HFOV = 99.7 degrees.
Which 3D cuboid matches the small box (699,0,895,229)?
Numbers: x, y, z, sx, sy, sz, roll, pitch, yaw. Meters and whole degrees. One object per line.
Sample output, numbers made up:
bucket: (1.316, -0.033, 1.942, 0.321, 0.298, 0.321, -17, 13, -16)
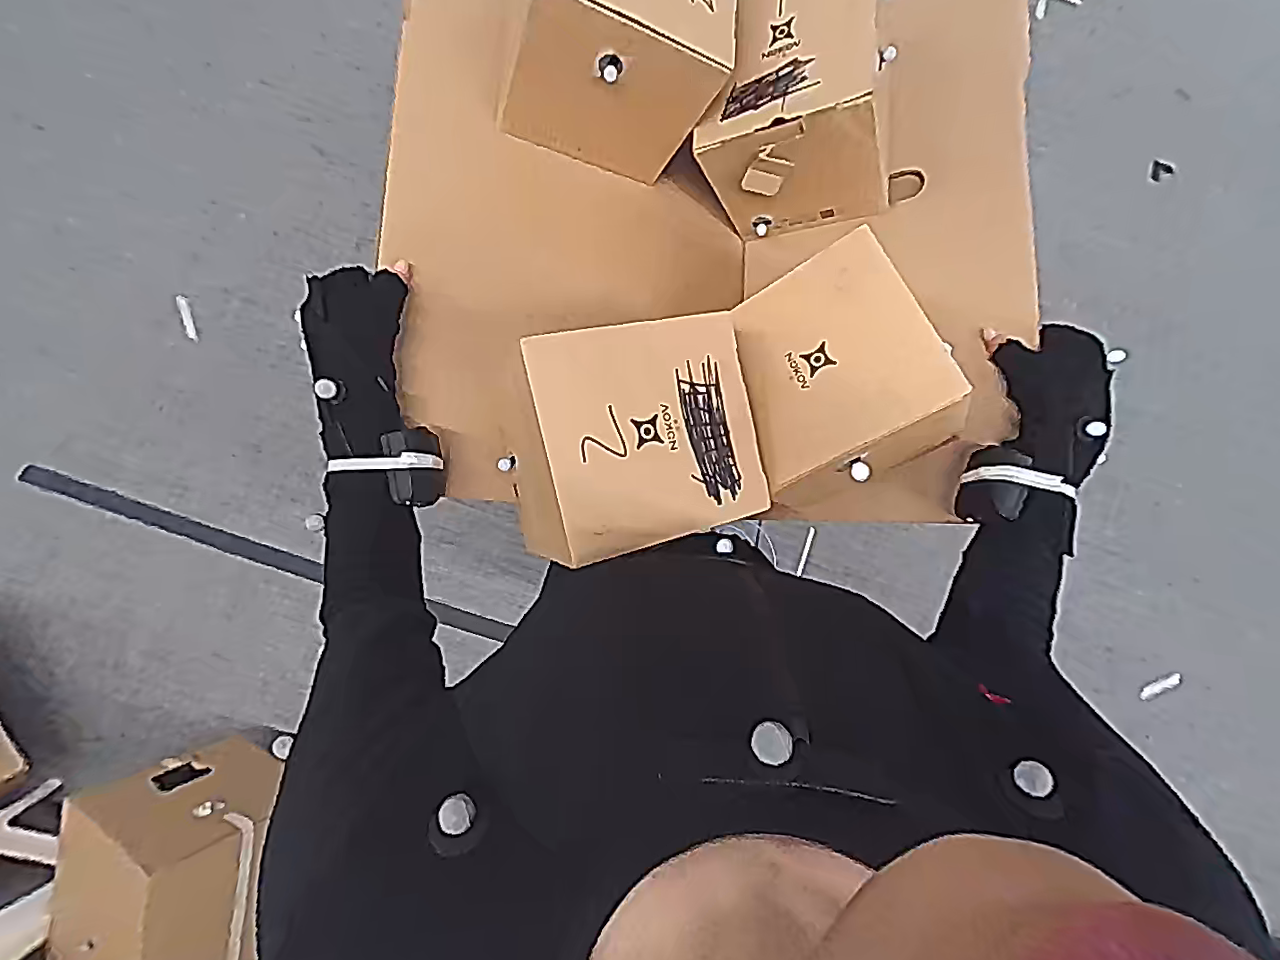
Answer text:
small box: (0.174, -0.392, 0.573, 0.168, 0.176, 0.179, 2, 81, 28)
